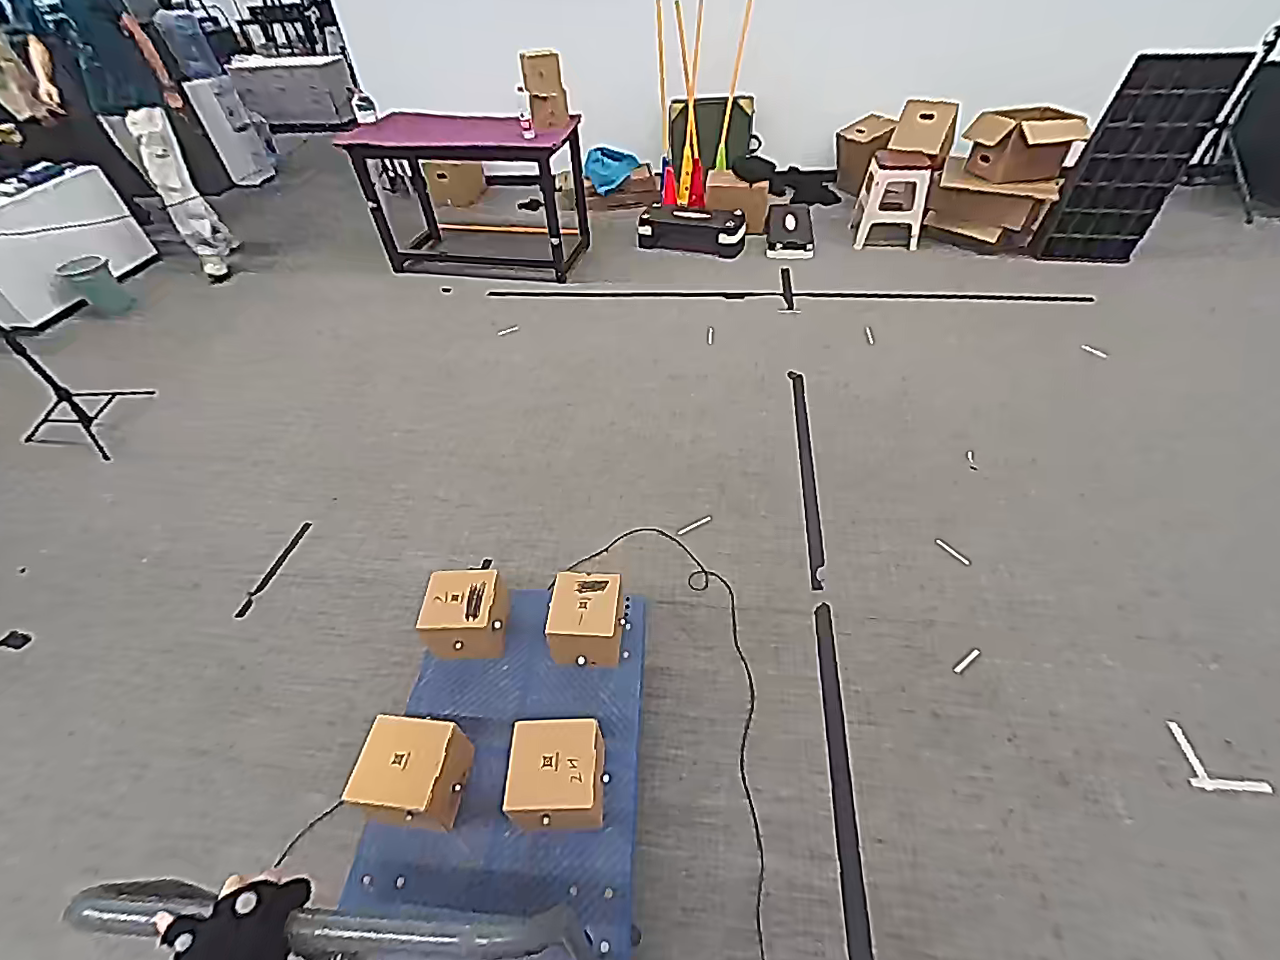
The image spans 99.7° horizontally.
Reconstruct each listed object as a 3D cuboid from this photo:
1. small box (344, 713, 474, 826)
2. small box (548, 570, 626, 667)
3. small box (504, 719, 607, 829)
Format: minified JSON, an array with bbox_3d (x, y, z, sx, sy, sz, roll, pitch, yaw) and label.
[{"bbox_3d":[-0.476,0.616,1.147,0.179,0.176,0.168,4,46,5],"label":"small box"},{"bbox_3d":[-0.127,0.353,1.379,0.168,0.176,0.179,2,47,5],"label":"small box"},{"bbox_3d":[-0.167,0.615,1.128,0.179,0.176,0.168,-2,46,2],"label":"small box"}]
